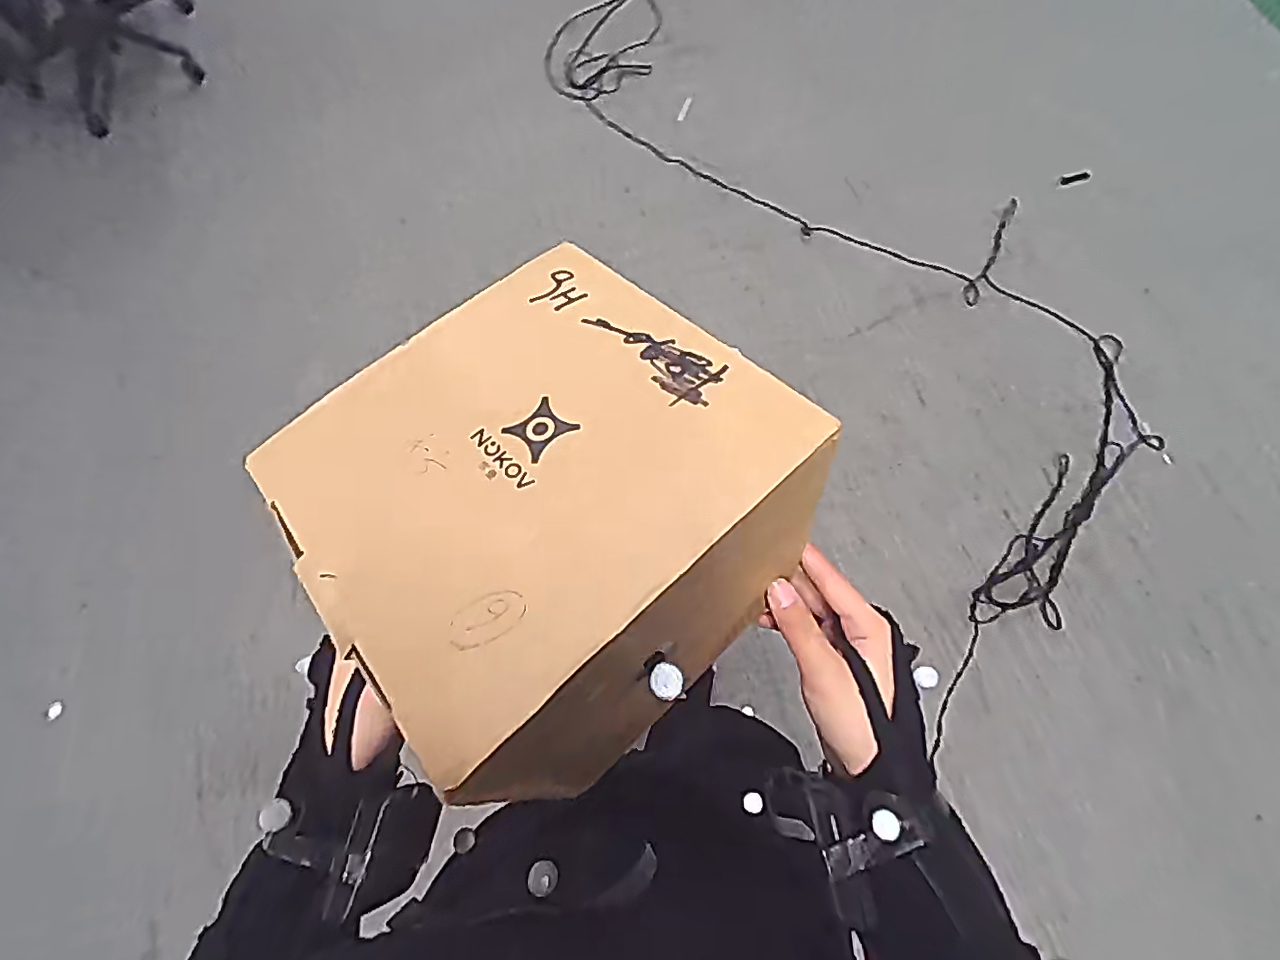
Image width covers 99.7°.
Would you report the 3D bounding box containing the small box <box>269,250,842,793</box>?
[{"bbox_3d":[-0.029,0.029,0.277,0.179,0.176,0.168,-40,62,-14],"label":"small box"}]
